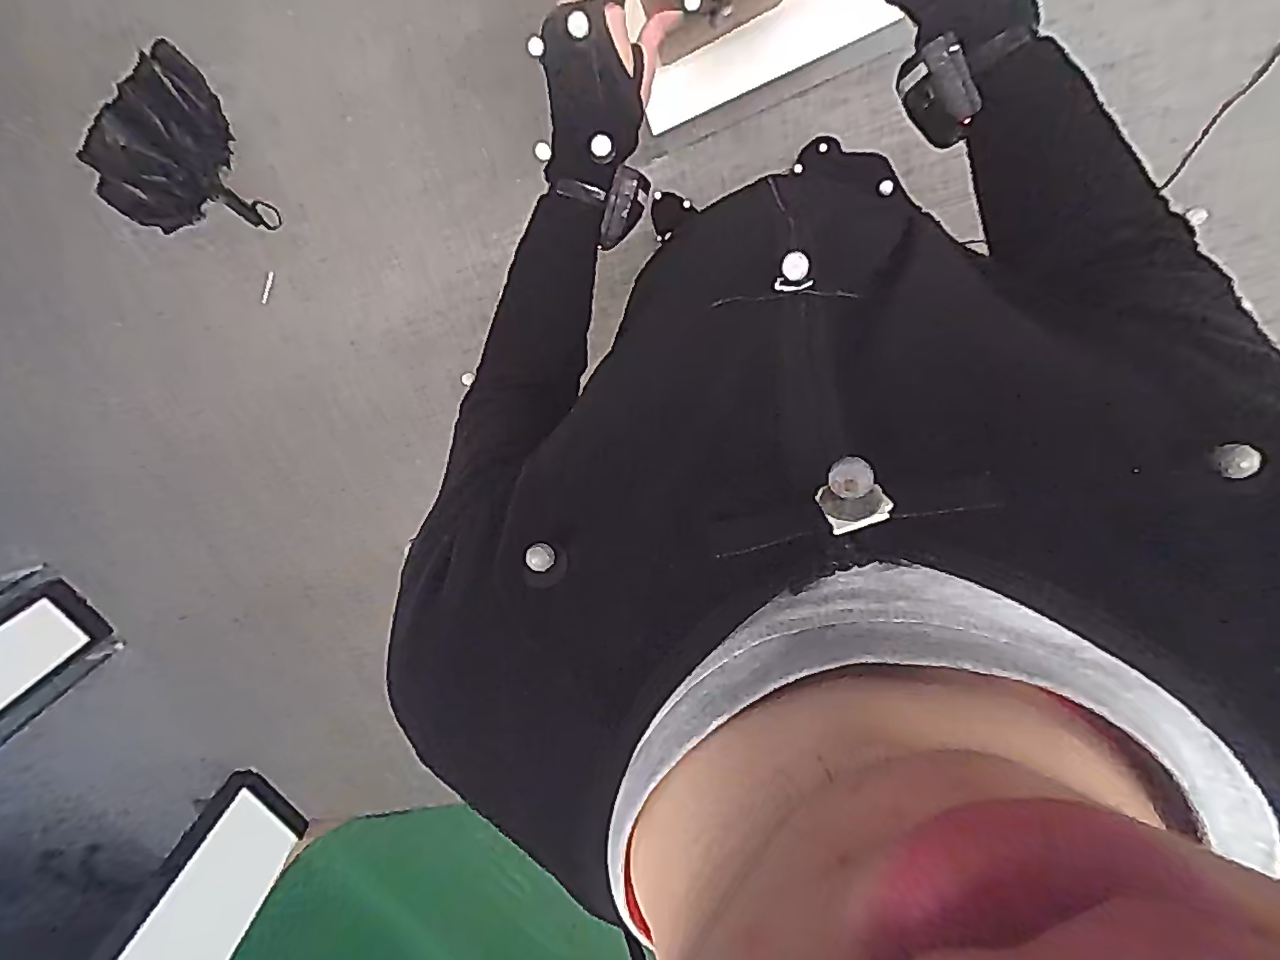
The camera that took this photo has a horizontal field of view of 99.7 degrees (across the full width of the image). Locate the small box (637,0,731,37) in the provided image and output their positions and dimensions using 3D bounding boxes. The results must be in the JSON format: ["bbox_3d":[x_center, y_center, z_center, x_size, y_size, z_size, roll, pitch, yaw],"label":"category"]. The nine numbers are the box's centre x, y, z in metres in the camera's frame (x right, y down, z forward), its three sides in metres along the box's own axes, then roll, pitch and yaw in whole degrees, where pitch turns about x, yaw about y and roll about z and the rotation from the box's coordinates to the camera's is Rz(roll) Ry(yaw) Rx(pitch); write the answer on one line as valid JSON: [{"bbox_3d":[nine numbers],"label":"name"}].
[{"bbox_3d":[0.046,-0.522,0.448,0.168,0.176,0.179,-19,115,16],"label":"small box"}]

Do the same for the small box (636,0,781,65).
[{"bbox_3d":[0.062,-0.601,0.591,0.168,0.176,0.179,-18,116,15],"label":"small box"}]
